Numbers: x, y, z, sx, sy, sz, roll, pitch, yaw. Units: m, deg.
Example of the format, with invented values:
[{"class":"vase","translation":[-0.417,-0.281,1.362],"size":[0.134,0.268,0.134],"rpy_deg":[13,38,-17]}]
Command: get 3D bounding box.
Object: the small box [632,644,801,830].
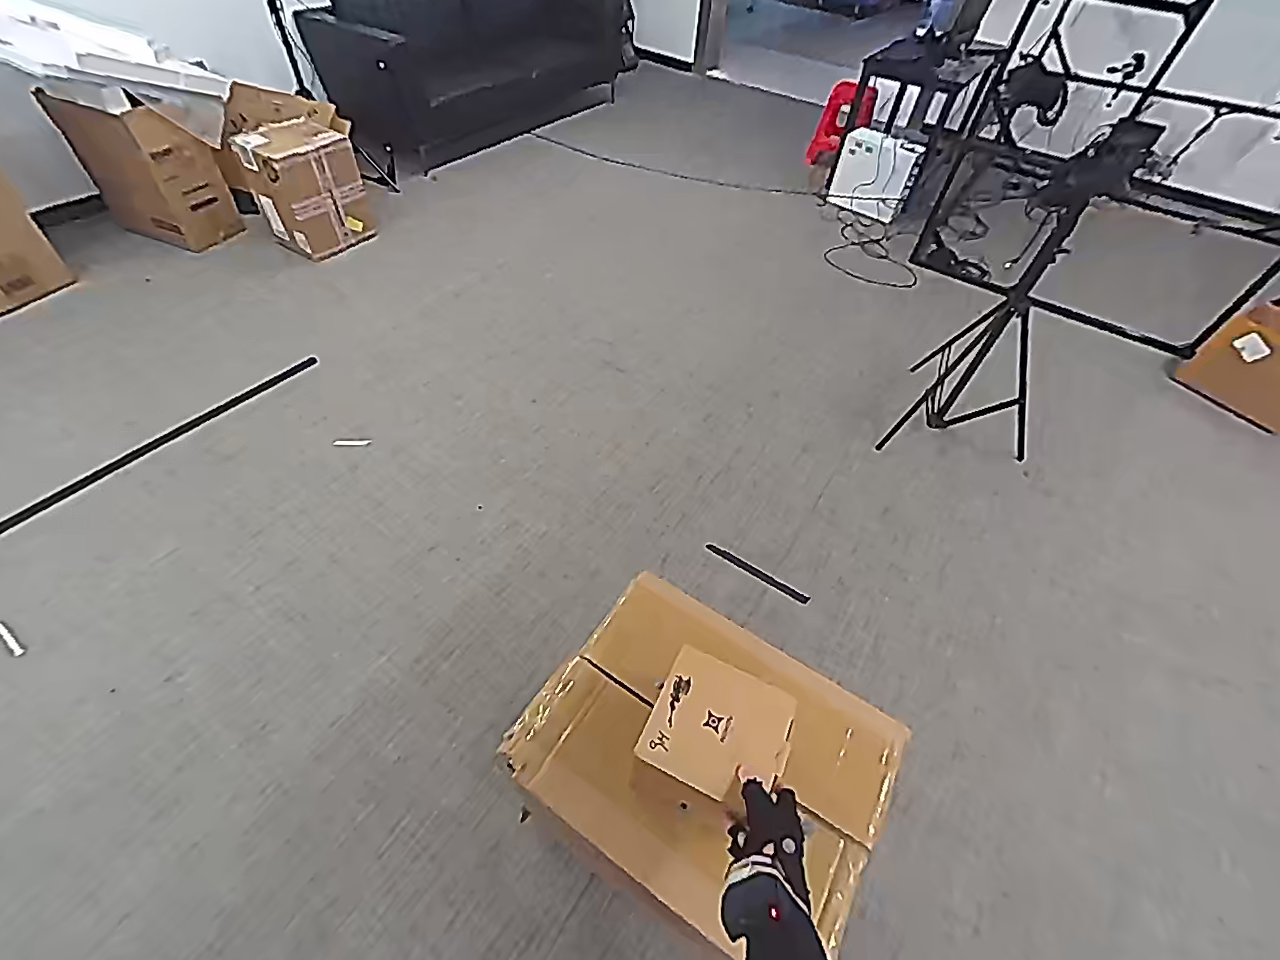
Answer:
[{"class":"small box","translation":[0.102,0.369,0.768],"size":[0.179,0.176,0.168],"rpy_deg":[22,53,14]}]
